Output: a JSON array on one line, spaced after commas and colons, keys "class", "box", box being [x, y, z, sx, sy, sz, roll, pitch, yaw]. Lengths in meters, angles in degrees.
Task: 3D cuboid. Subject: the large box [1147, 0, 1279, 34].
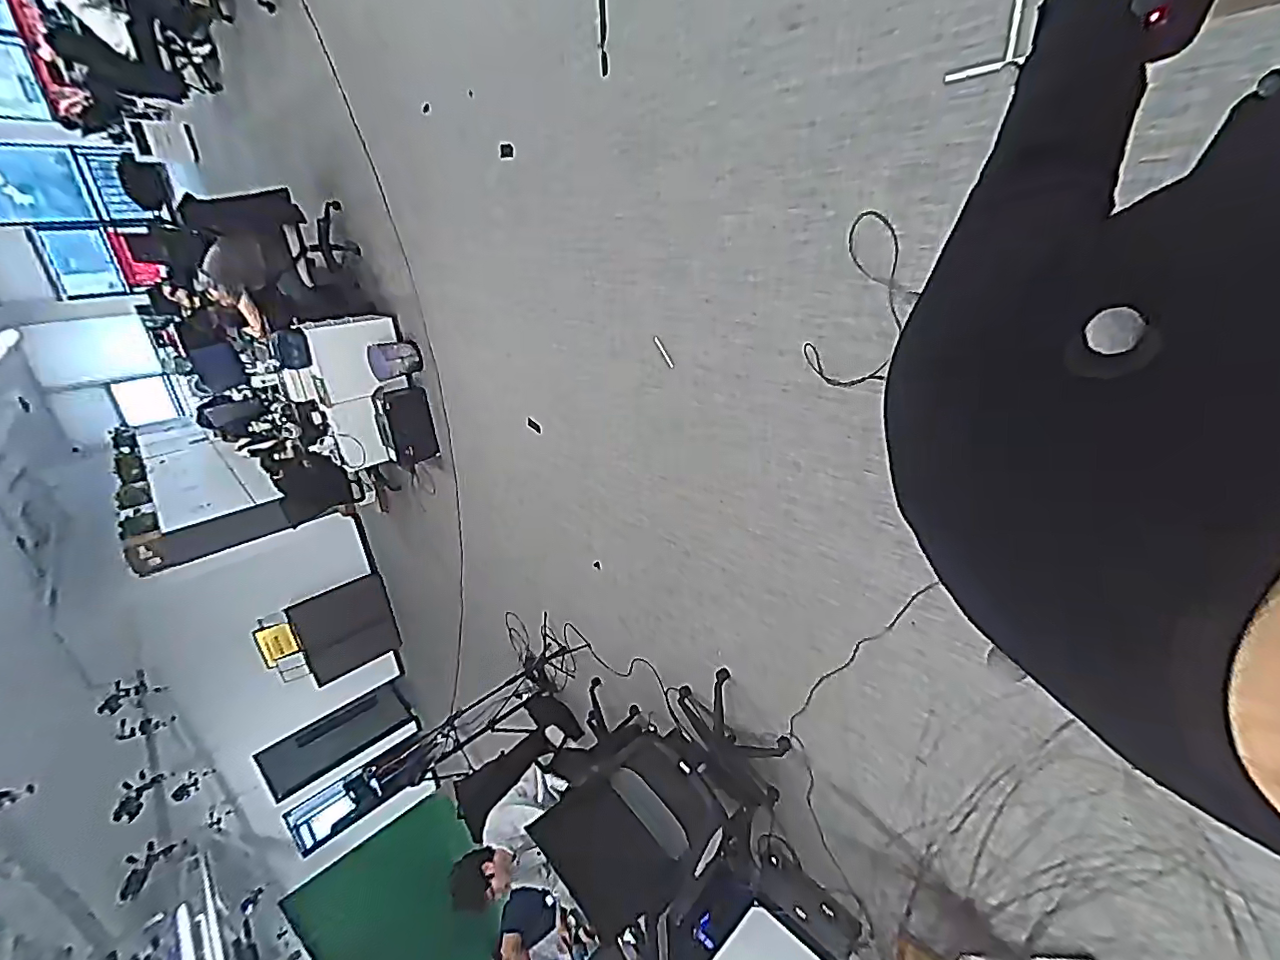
[{"class": "large box", "box": [0.583, -0.480, 0.272, 0.408, 0.320, 0.320, 21, 131, 42]}]
